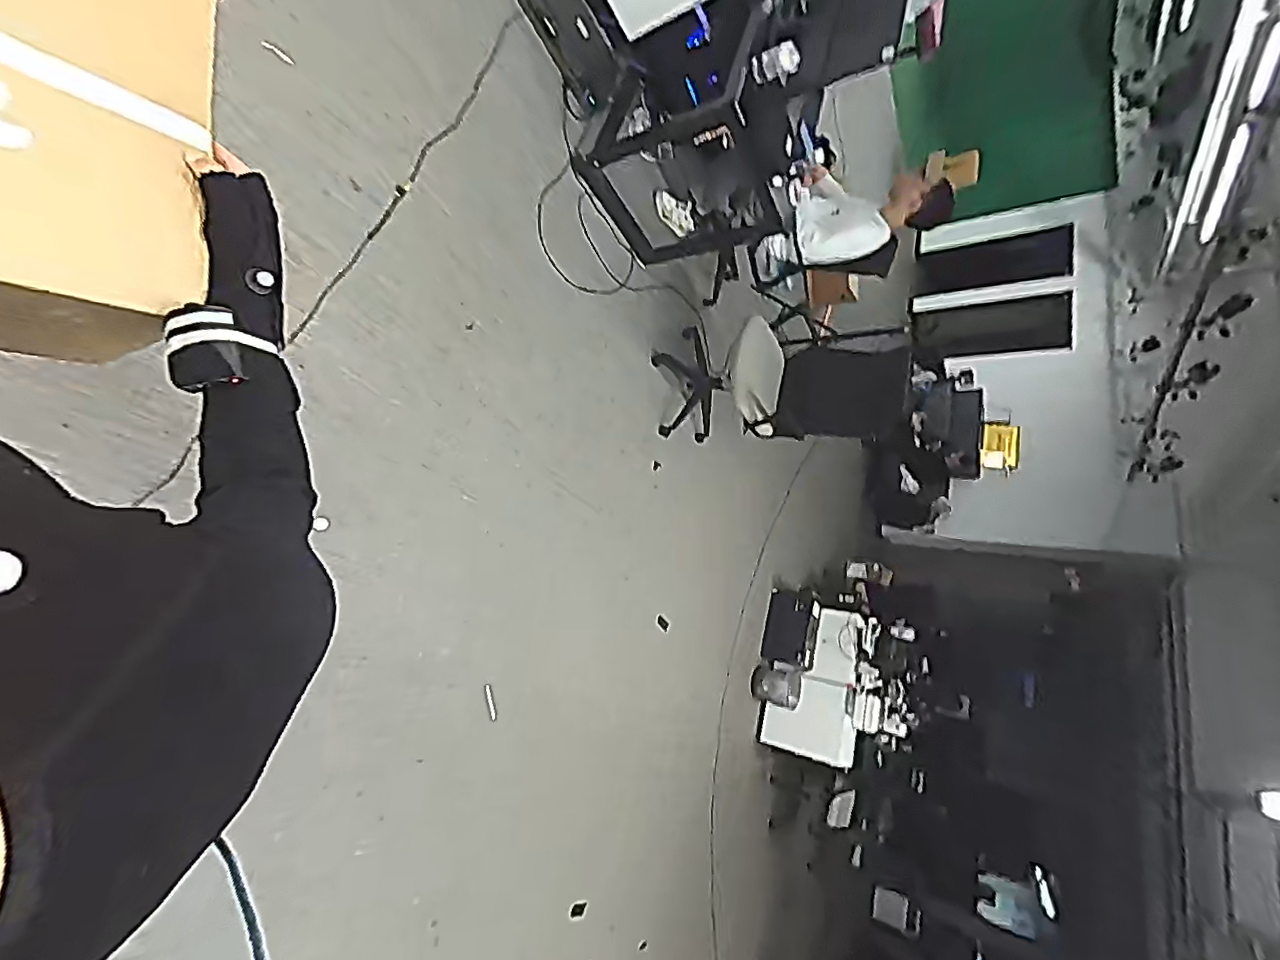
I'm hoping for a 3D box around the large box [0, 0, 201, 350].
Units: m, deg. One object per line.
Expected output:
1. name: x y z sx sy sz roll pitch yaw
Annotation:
1. large box: -0.620 -0.304 0.389 0.408 0.320 0.320 2 89 -57
